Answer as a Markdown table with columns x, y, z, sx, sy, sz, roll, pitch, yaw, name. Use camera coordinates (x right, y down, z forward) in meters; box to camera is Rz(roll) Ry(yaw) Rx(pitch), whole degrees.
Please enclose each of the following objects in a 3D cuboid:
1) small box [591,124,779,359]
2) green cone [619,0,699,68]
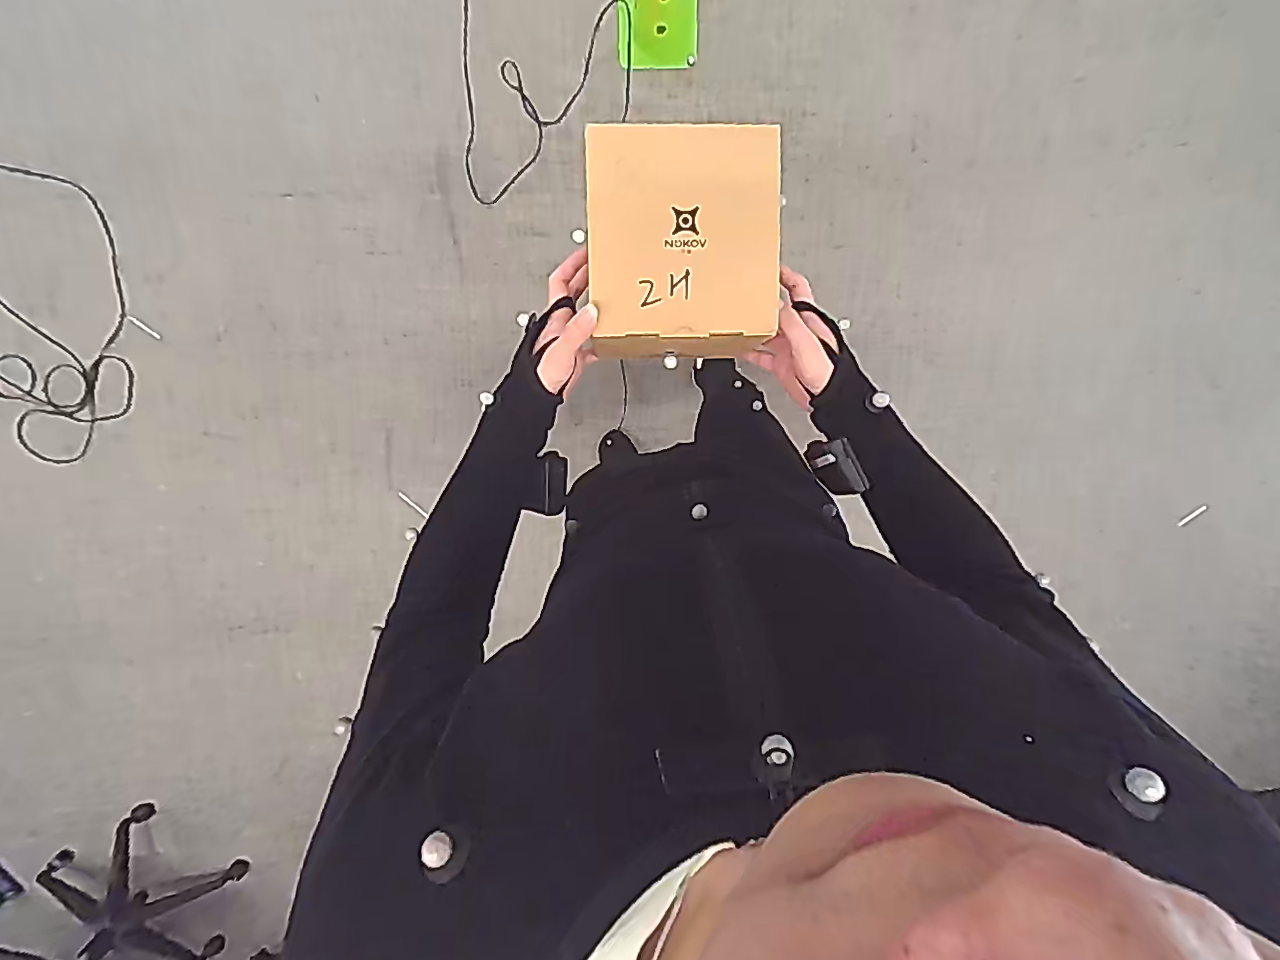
| x | y | z | sx | sy | sz | roll | pitch | yaw | name |
| --- | --- | --- | --- | --- | --- | --- | --- | --- | --- |
| 0.035 | -0.223 | 0.549 | 0.168 | 0.176 | 0.179 | 0 | 96 | -2 | small box |
| 0.050 | -1.128 | 1.204 | 0.202 | 0.368 | 0.200 | -1 | 102 | 0 | green cone |
